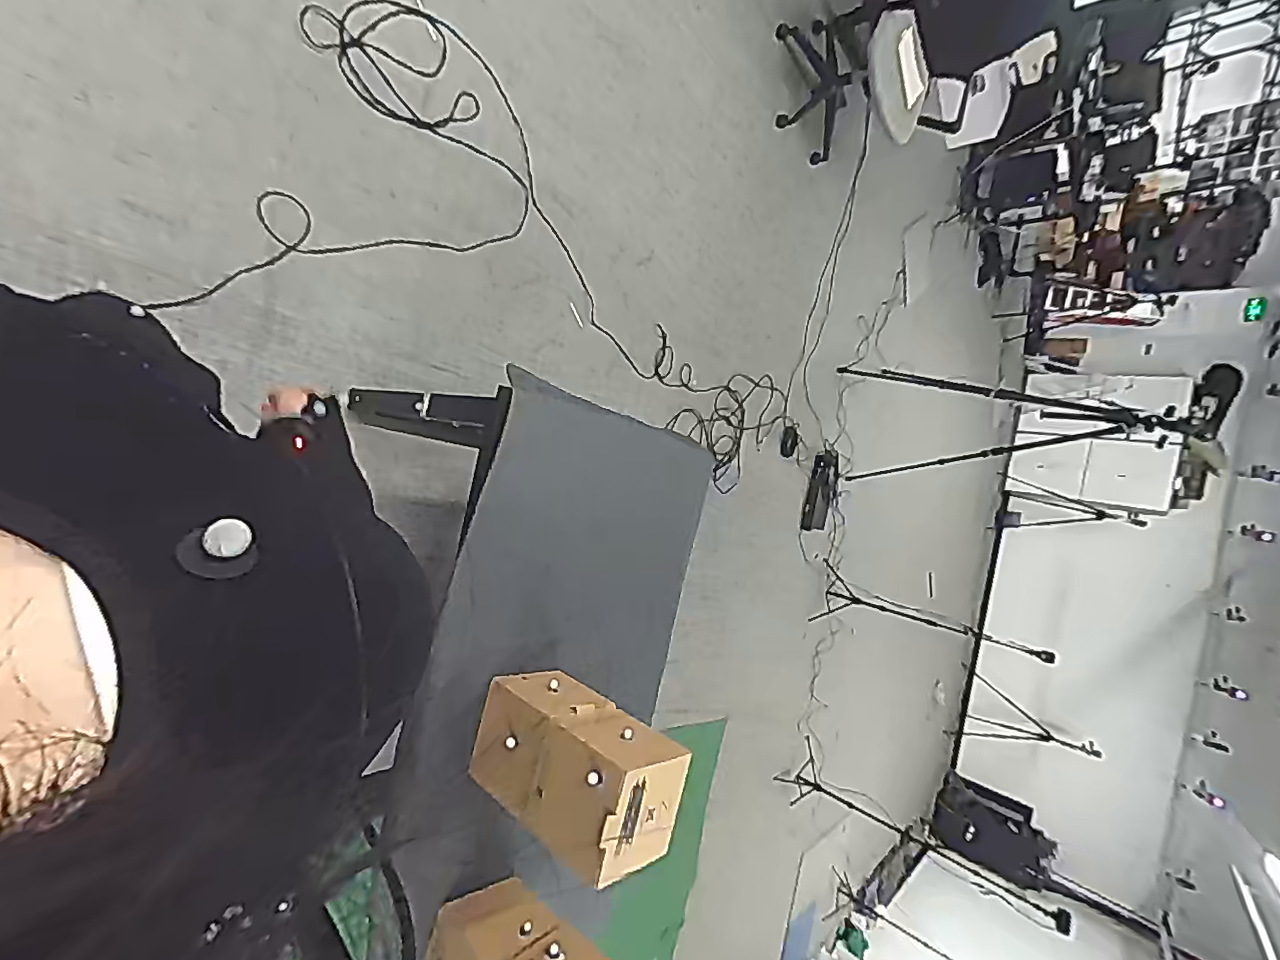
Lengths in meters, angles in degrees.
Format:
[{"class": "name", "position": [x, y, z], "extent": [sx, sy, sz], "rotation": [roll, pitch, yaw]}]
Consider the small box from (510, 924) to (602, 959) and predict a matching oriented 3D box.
[{"class": "small box", "position": [-0.129, 0.862, 0.842], "extent": [0.168, 0.176, 0.179], "rotation": [11, 88, -52]}]

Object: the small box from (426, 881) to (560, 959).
[{"class": "small box", "position": [-0.254, 0.850, 0.945], "extent": [0.179, 0.176, 0.168], "rotation": [22, 80, -49]}]

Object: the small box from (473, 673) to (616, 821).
[{"class": "small box", "position": [-0.171, 0.455, 0.960], "extent": [0.168, 0.176, 0.179], "rotation": [17, 85, -49]}]
